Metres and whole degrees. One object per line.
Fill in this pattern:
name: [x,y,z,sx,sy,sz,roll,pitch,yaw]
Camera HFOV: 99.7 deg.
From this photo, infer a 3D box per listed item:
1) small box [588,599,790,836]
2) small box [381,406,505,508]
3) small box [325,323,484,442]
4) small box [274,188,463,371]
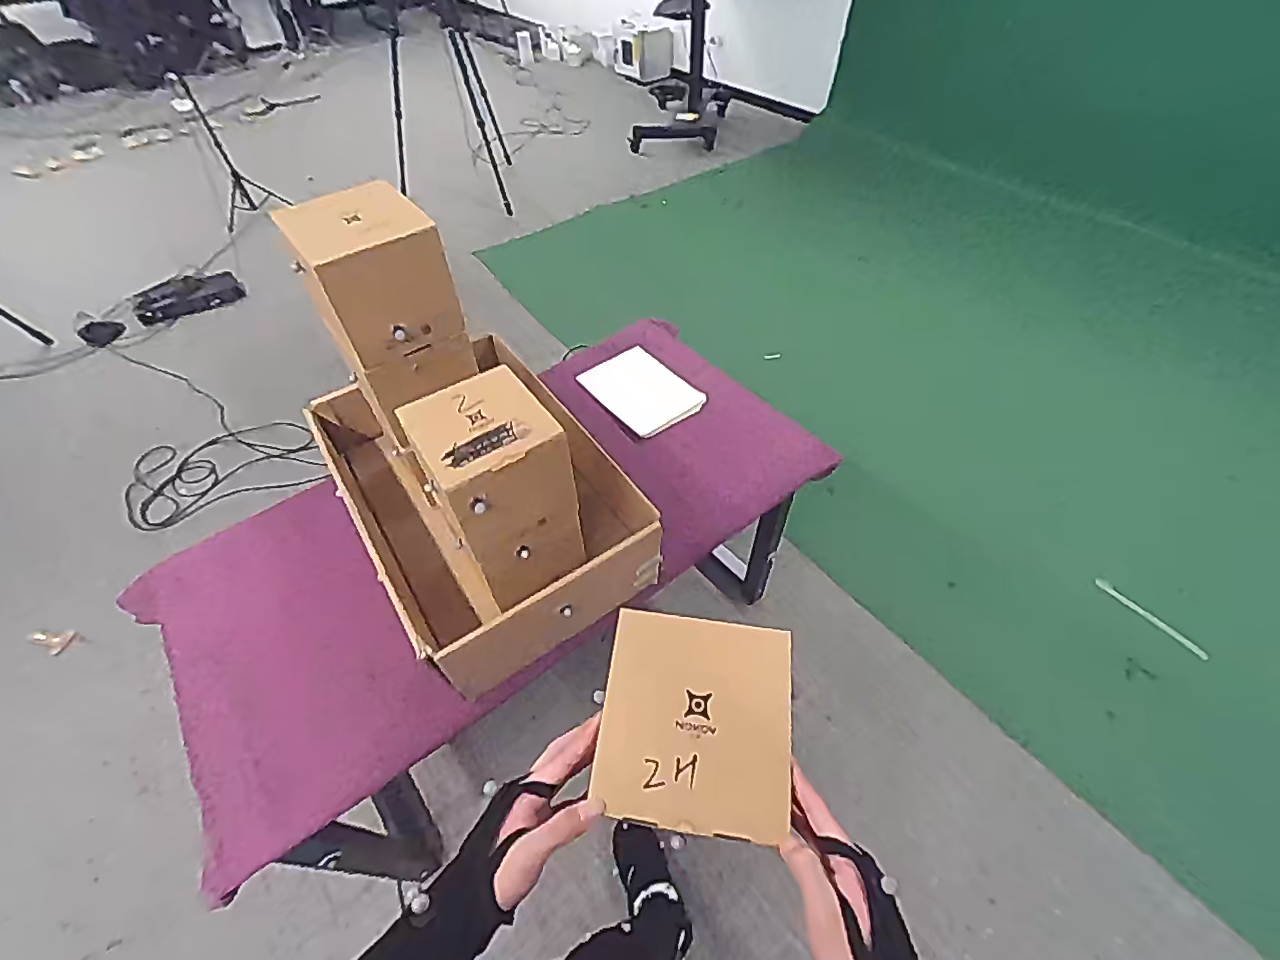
small box: [0.051,0.242,0.544,0.168,0.176,0.179,6,58,7]
small box: [-0.381,-0.079,1.036,0.168,0.176,0.179,-32,58,-23]
small box: [-0.386,-0.187,0.912,0.168,0.176,0.179,-32,57,-24]
small box: [-0.384,-0.290,0.786,0.168,0.176,0.179,-32,59,-23]
